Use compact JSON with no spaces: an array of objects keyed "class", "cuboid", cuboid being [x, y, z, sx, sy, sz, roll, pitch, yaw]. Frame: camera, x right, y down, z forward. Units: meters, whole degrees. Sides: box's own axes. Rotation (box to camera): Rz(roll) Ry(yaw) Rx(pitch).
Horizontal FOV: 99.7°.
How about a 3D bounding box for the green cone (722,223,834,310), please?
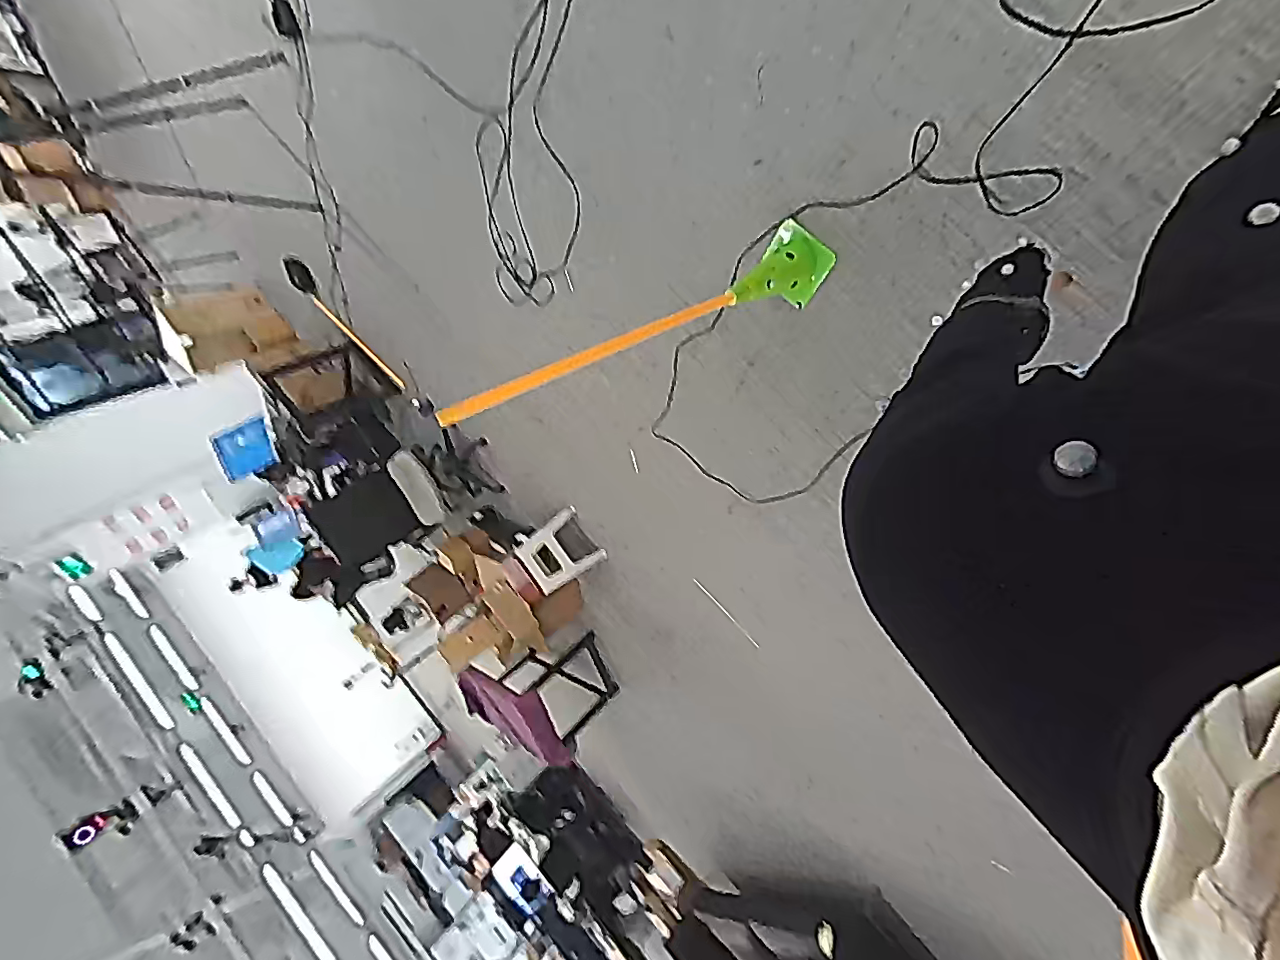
[{"class":"green cone","cuboid":[0.360,-0.573,1.556,0.202,0.368,0.200,46,143,13]}]
